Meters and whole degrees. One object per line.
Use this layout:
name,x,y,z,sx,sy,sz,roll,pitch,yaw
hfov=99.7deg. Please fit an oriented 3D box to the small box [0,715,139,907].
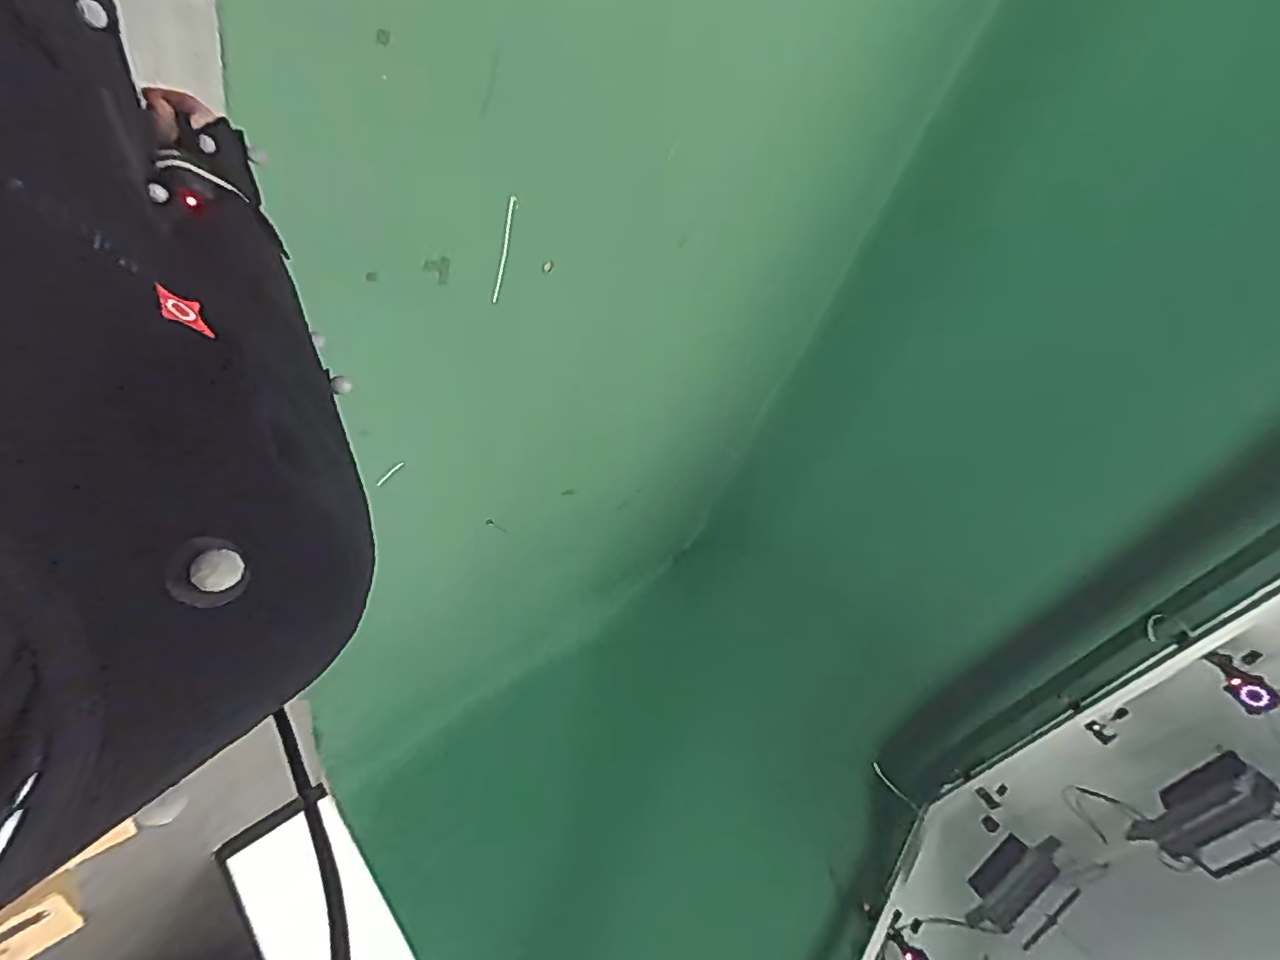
small box,-0.916,0.497,0.833,0.168,0.176,0.179,-18,144,-44
